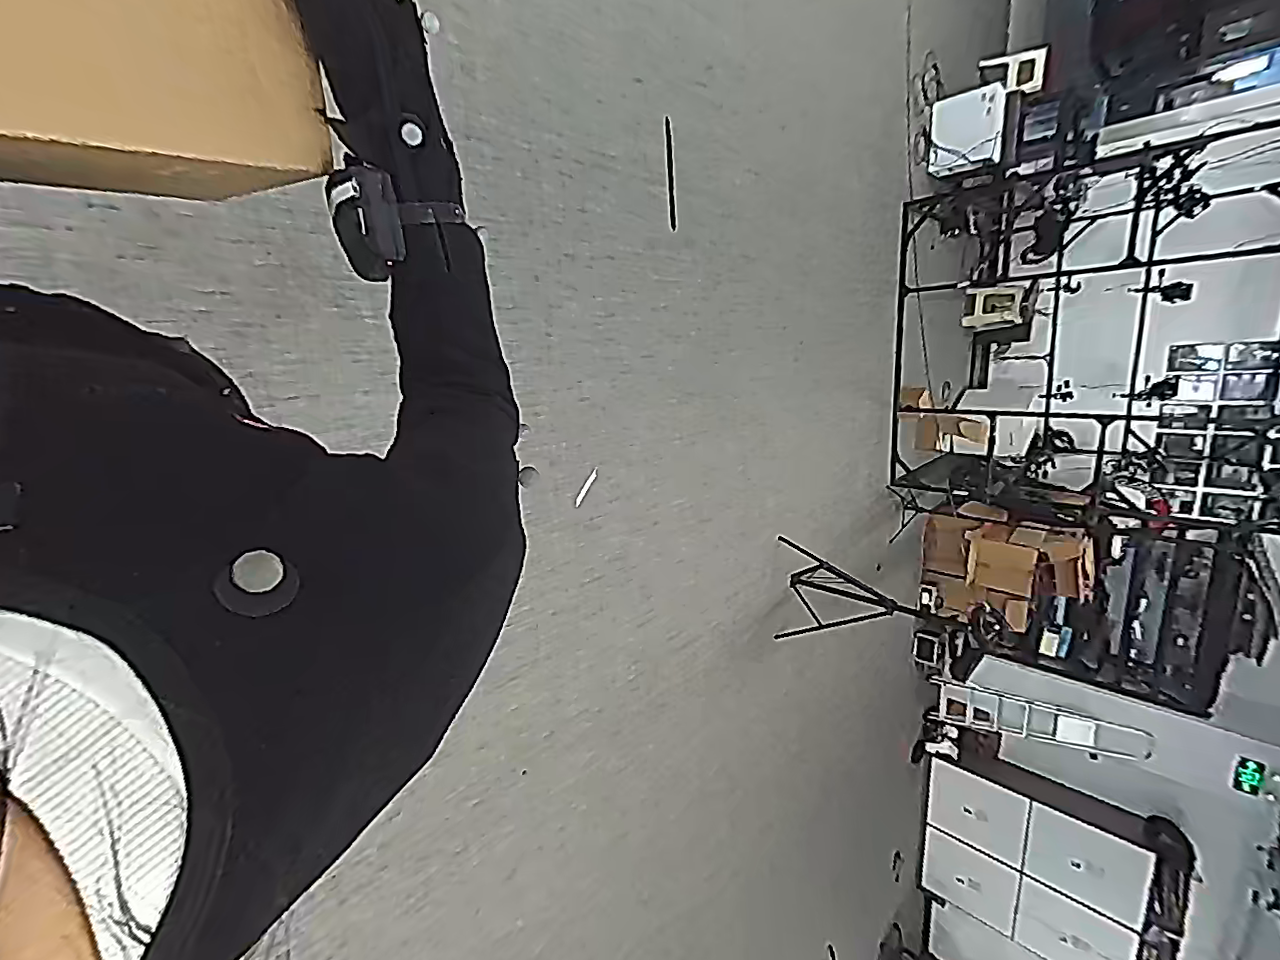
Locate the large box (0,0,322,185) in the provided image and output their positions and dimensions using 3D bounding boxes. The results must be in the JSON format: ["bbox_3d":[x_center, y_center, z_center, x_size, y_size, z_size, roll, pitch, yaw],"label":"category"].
[{"bbox_3d":[-0.460,-0.350,0.273,0.408,0.320,0.320,-21,123,-44],"label":"large box"}]
